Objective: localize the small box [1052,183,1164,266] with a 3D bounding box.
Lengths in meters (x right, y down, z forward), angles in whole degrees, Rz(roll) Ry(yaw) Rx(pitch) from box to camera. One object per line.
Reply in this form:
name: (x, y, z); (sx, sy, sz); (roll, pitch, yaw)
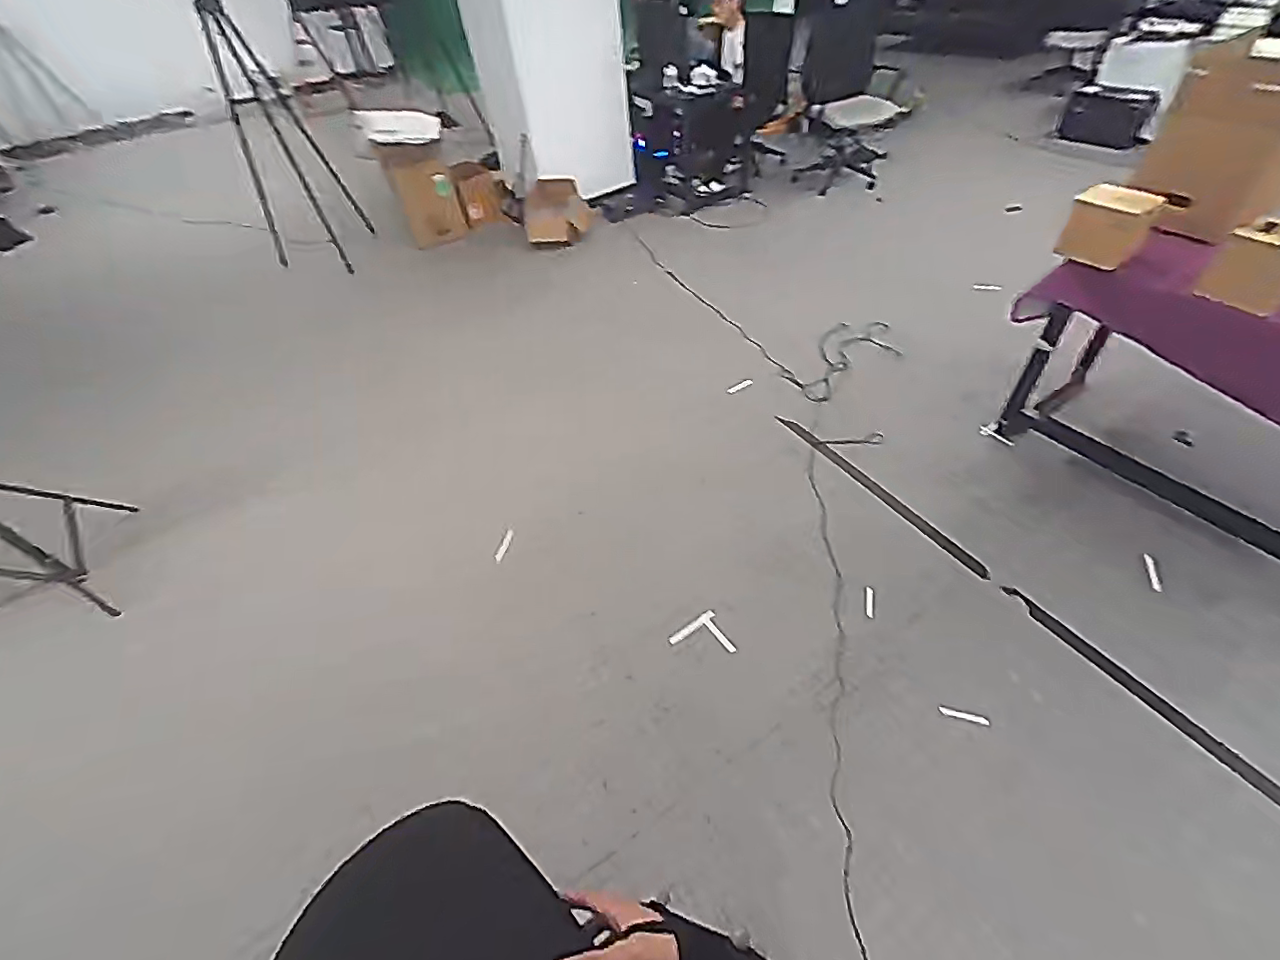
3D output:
small box: (1.422, -0.781, 1.658); (0.168, 0.176, 0.179); (-29, 51, -20)
